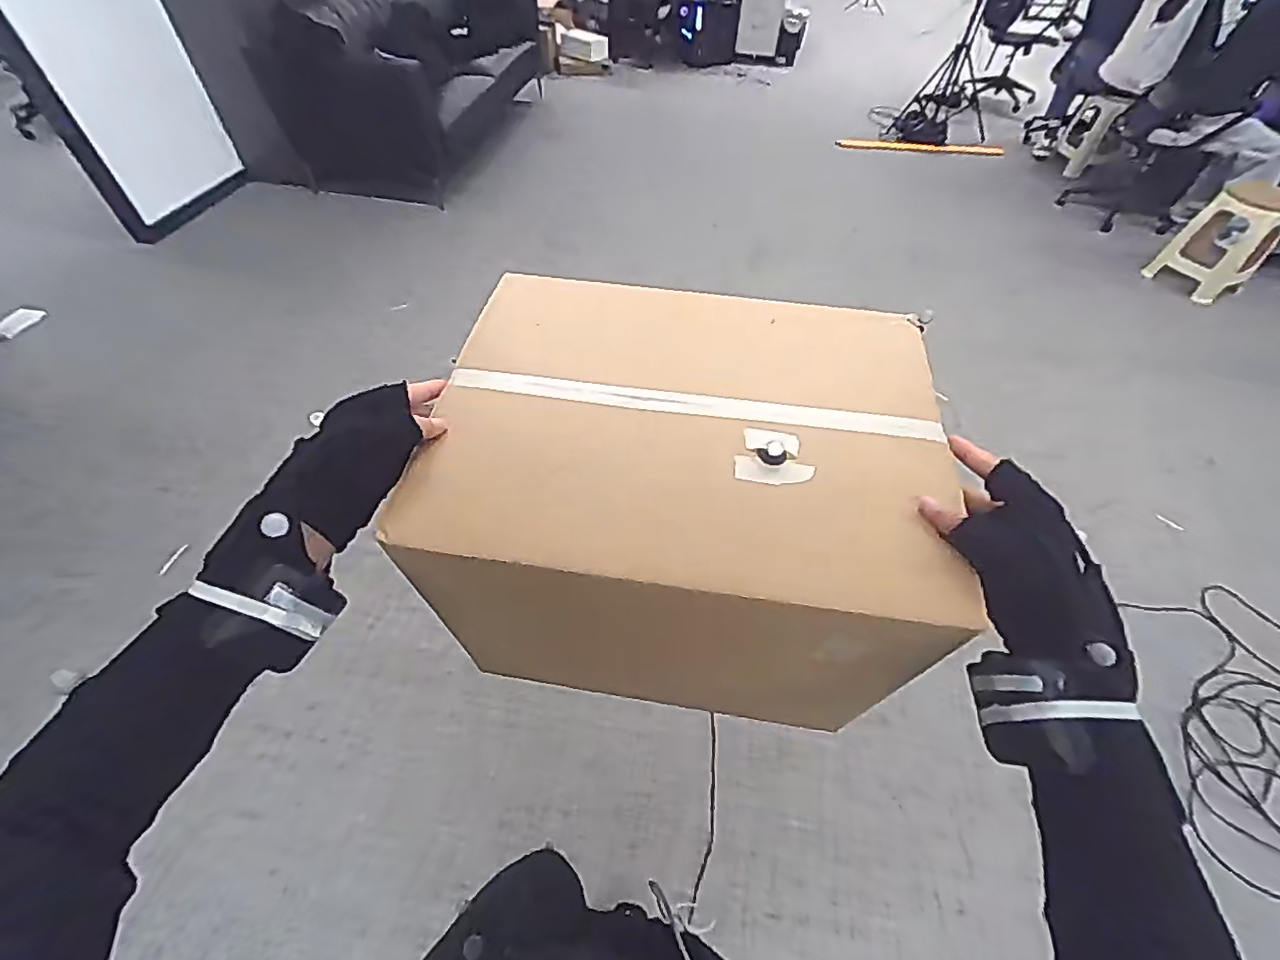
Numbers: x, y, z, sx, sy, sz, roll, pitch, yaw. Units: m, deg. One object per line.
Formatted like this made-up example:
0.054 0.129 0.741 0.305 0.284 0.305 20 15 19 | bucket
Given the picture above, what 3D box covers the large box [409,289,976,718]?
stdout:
0.044 0.034 0.578 0.408 0.320 0.320 8 55 4 | large box
